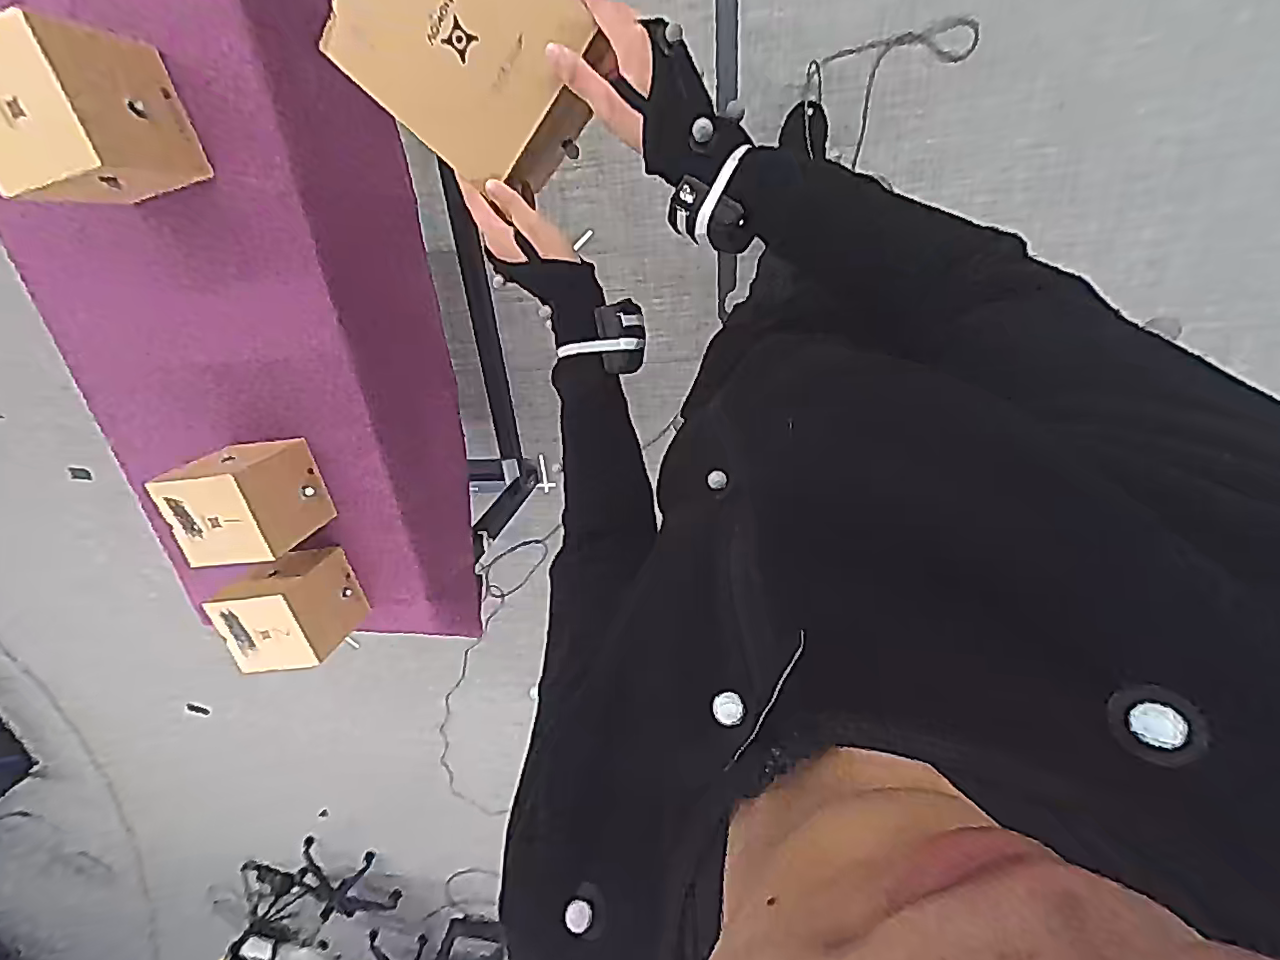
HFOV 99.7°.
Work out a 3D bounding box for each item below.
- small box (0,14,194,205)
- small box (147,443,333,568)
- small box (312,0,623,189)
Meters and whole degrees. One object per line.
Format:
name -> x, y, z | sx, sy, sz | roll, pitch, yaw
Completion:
small box -> -0.763, -0.482, 0.733 | 0.179, 0.176, 0.168 | -7, 114, 14
small box -> -0.704, 0.043, 0.975 | 0.179, 0.176, 0.168 | -5, 114, 12
small box -> -0.138, -0.394, 0.488 | 0.179, 0.176, 0.168 | 40, 118, -15
